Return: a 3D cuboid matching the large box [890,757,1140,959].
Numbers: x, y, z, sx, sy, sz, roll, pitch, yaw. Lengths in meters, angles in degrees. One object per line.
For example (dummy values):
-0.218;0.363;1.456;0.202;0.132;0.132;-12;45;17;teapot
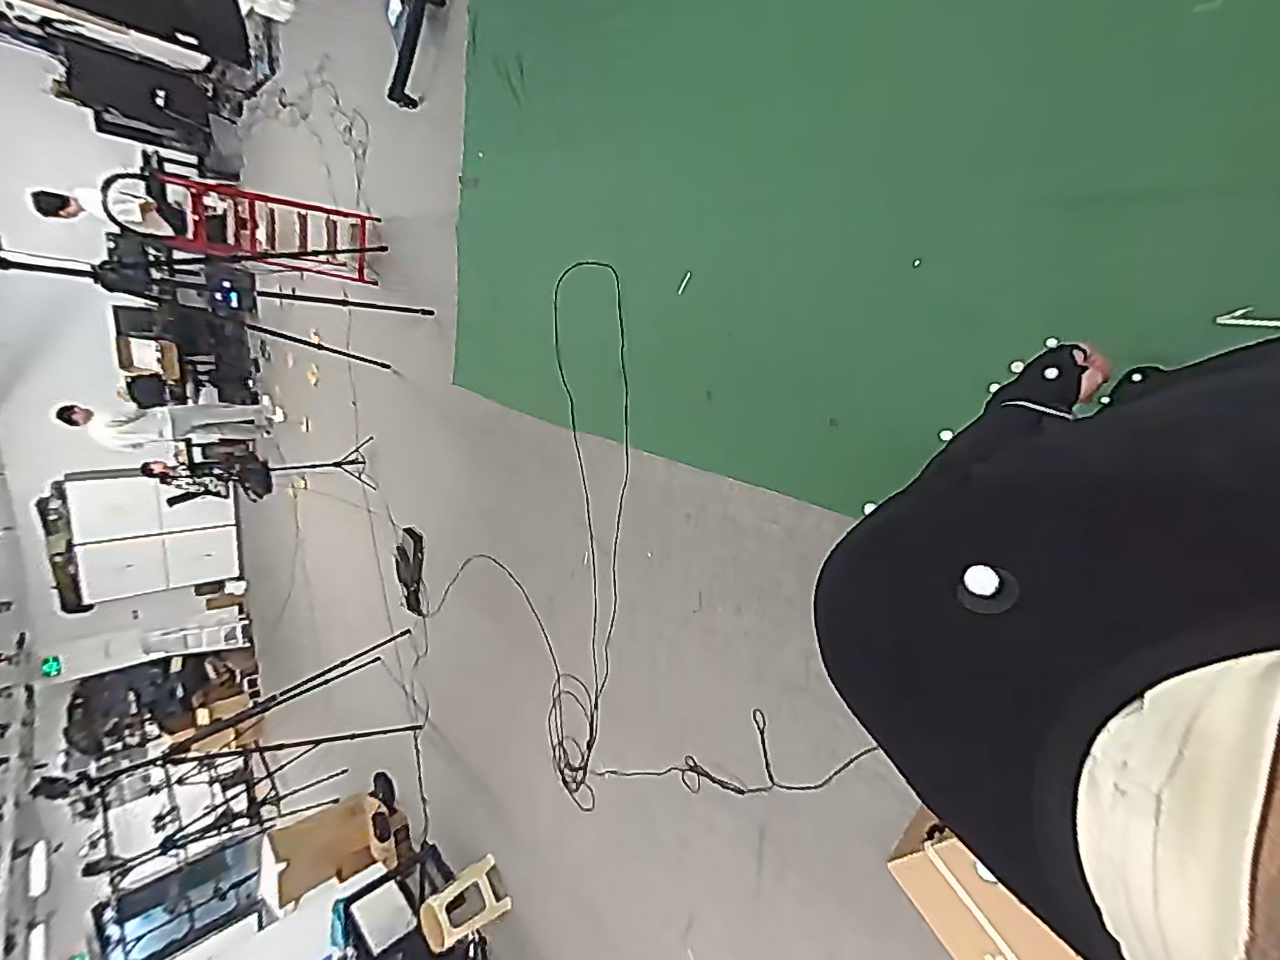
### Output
0.941;1.016;1.378;0.408;0.320;0.320;52;128;25;large box
